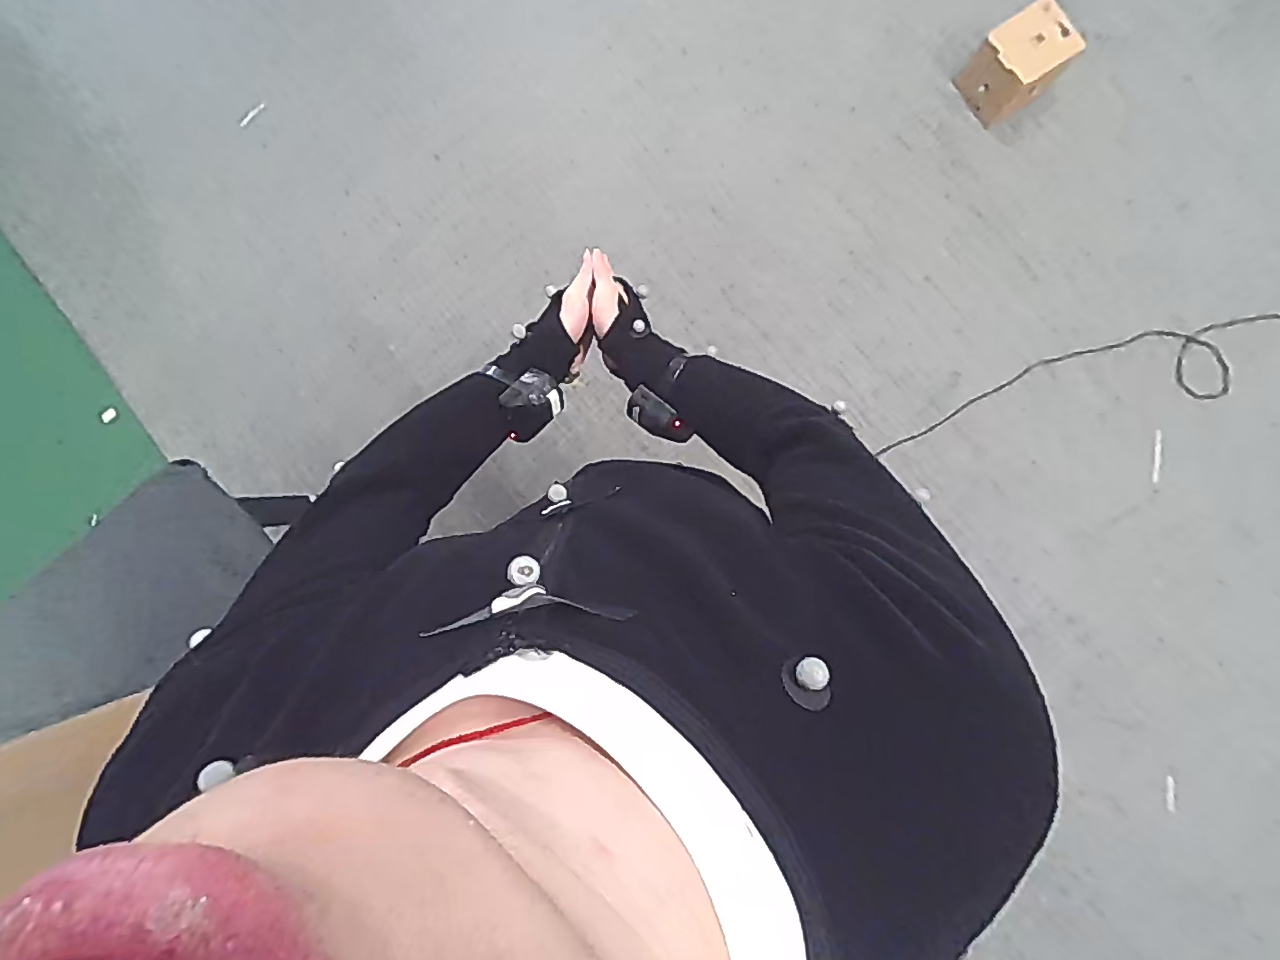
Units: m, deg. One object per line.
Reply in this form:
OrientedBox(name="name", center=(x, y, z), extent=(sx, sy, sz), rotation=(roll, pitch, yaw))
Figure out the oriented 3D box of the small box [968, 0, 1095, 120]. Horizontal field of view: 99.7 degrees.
OrientedBox(name="small box", center=(0.992, -1.077, 1.390), extent=(0.179, 0.176, 0.168), rotation=(29, 90, 6))
